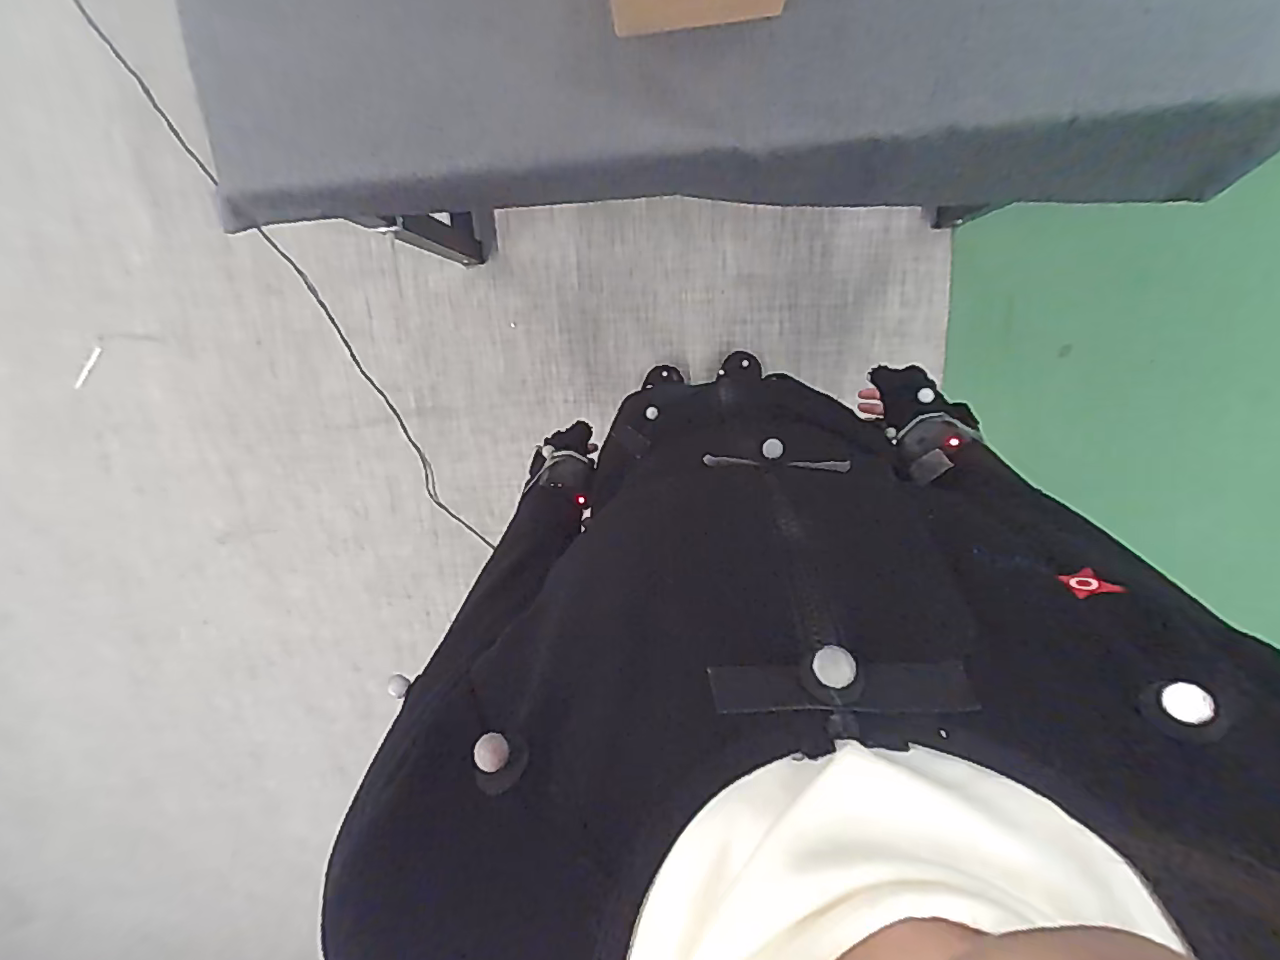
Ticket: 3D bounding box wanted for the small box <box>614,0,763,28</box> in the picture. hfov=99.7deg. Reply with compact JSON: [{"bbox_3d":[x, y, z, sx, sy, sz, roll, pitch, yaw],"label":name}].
[{"bbox_3d":[0.051,-0.540,0.466,0.179,0.176,0.168,-8,104,4],"label":"small box"}]
